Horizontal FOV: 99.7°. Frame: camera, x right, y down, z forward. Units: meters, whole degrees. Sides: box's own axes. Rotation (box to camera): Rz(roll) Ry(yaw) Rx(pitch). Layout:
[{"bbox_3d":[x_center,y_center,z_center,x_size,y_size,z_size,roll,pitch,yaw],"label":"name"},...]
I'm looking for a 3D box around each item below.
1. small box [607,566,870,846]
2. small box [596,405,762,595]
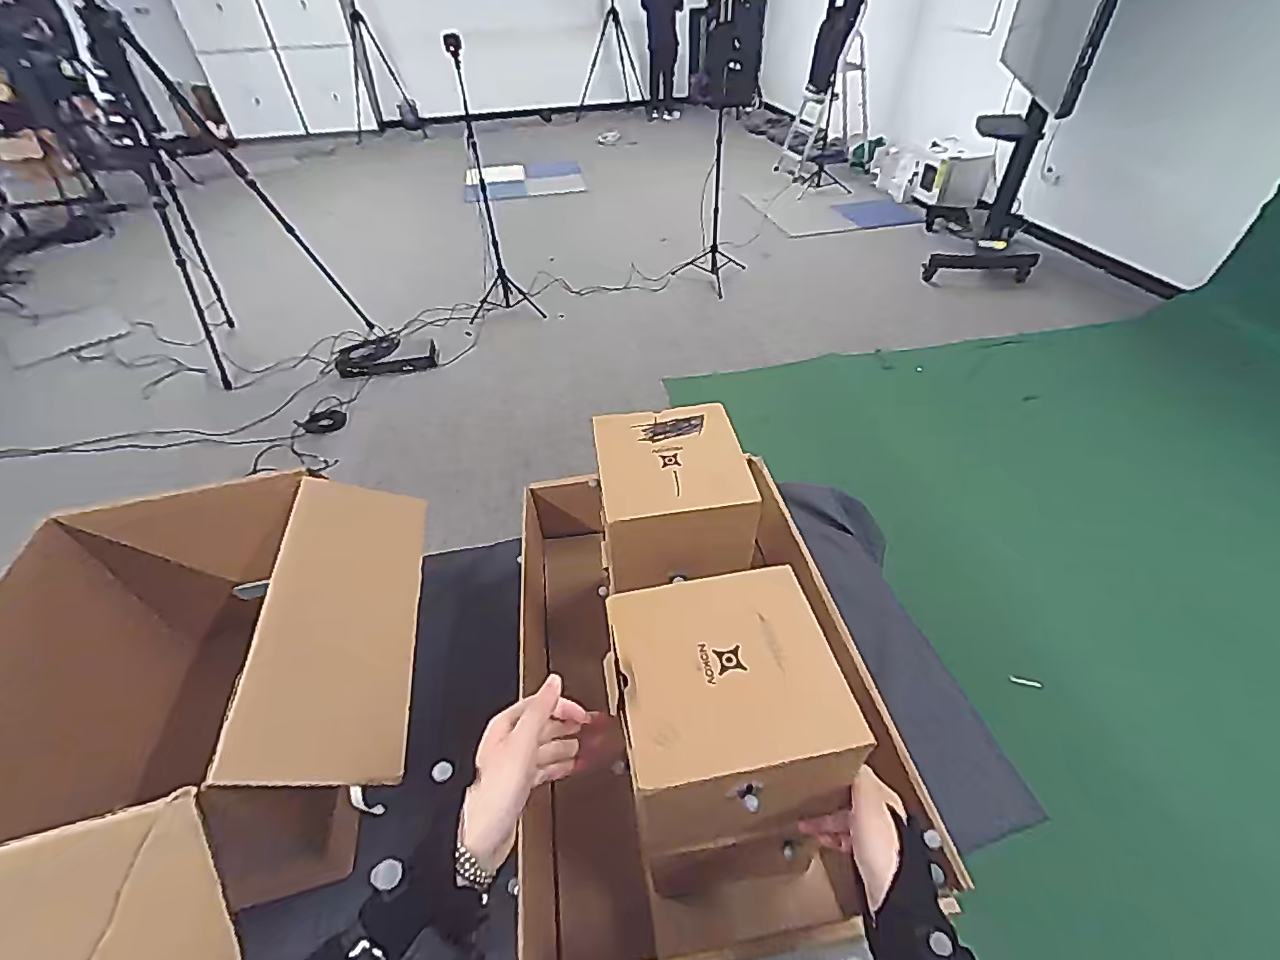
[{"bbox_3d":[0.072,0.206,0.491,0.179,0.176,0.168,-8,44,-6],"label":"small box"},{"bbox_3d":[0.038,0.032,0.672,0.168,0.176,0.179,-8,46,-4],"label":"small box"}]
